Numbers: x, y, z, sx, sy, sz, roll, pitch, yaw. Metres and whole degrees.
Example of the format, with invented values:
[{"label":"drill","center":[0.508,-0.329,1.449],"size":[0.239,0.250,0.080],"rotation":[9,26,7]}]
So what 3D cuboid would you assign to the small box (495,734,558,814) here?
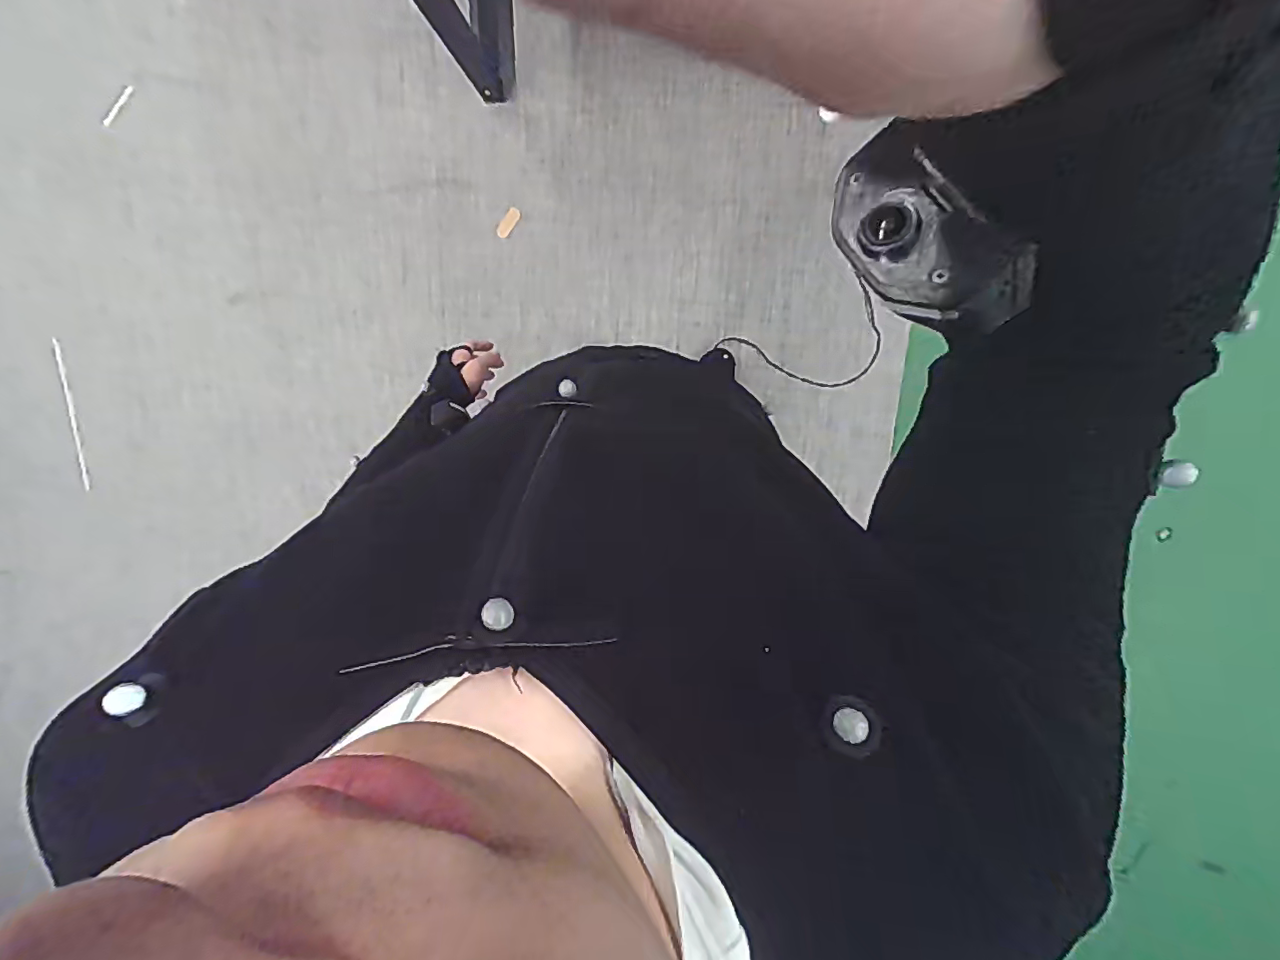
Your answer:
[{"label":"small box","center":[-0.370,0.964,1.782],"size":[0.179,0.176,0.168],"rotation":[4,103,1]}]

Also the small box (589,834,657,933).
[{"label":"small box","center":[-0.049,1.228,1.657],"size":[0.179,0.176,0.168],"rotation":[11,104,0]}]

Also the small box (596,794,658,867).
[{"label":"small box","center":[-0.041,1.197,1.820],"size":[0.179,0.176,0.168],"rotation":[11,103,0]}]
